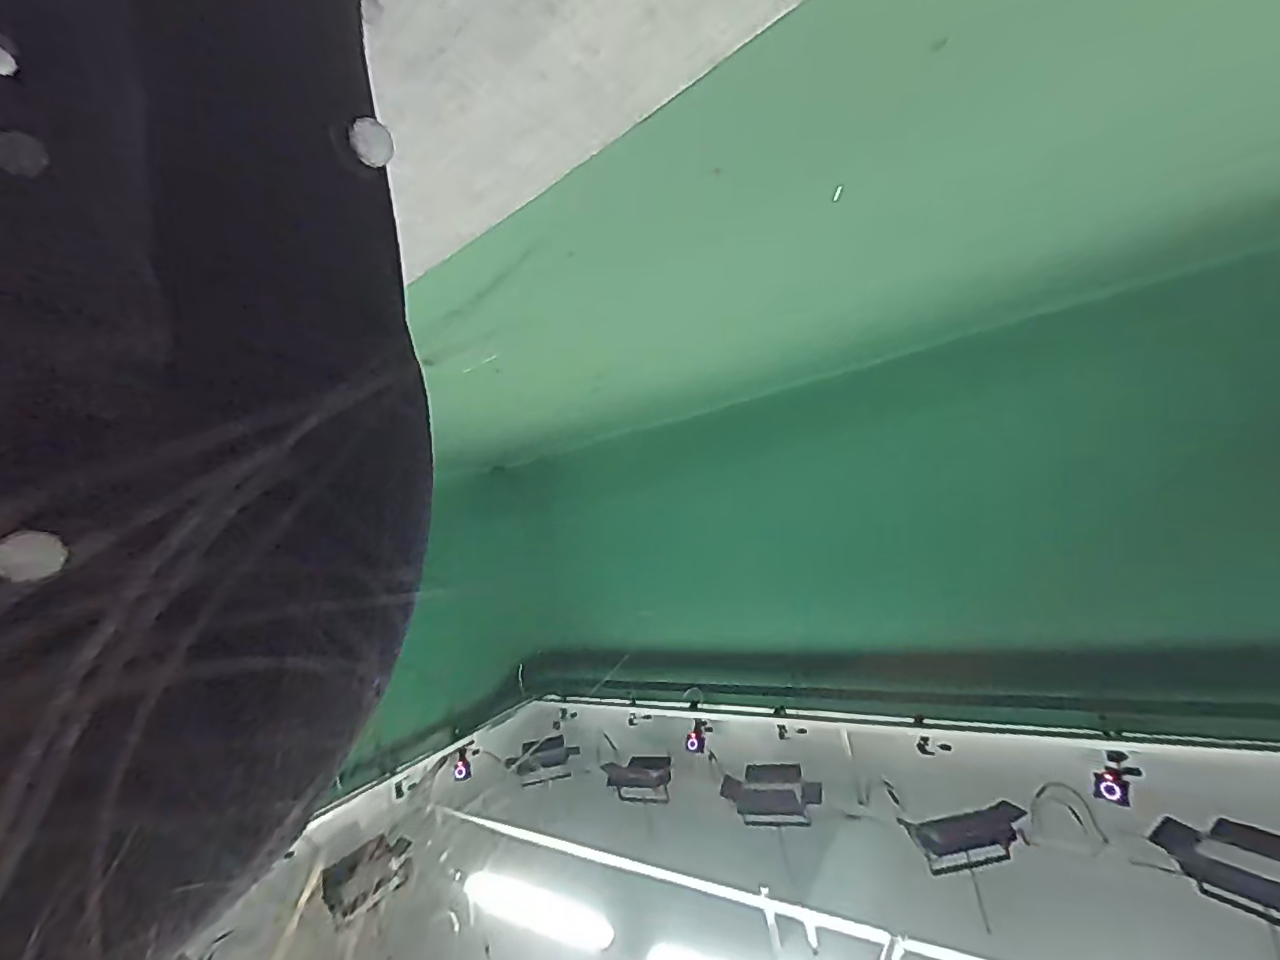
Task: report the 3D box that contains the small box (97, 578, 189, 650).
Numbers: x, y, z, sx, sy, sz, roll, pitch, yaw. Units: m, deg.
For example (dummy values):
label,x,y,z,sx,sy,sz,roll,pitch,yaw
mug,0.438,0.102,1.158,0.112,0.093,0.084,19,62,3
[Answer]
label,x,y,z,sx,sy,sz,roll,pitch,yaw
small box,-1.468,0.390,1.593,0.179,0.176,0.168,-13,176,37
